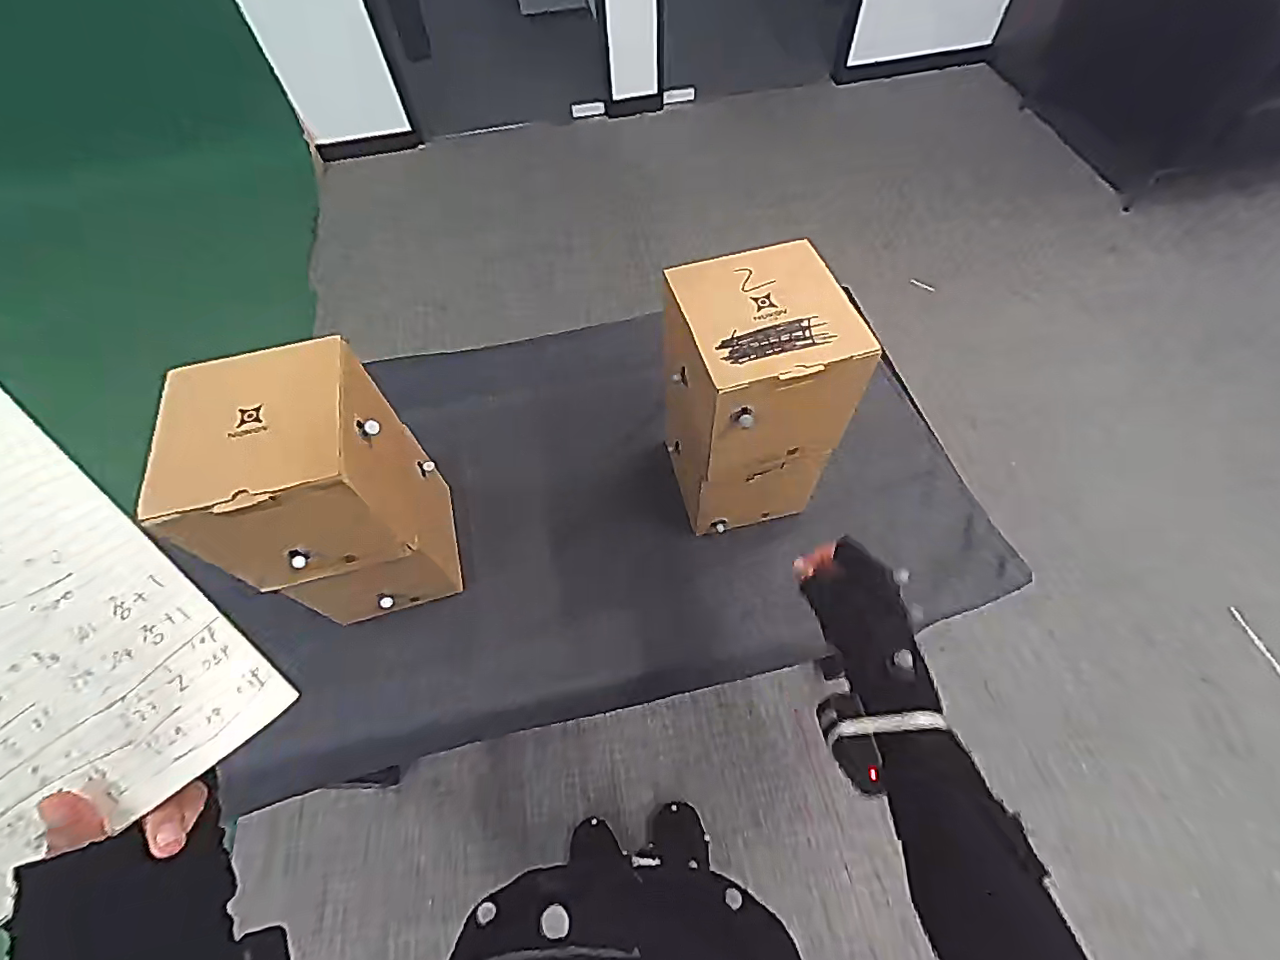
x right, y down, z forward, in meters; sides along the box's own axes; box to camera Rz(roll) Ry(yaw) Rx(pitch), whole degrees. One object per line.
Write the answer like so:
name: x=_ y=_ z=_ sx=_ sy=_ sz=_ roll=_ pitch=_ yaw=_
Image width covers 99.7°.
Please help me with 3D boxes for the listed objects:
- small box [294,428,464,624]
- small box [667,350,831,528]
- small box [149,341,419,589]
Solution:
small box: x=-0.343 y=0.064 z=0.707 sx=0.168 sy=0.176 sz=0.179 roll=-16 pitch=60 yaw=-6
small box: x=0.138 y=-0.047 z=0.755 sx=0.168 sy=0.176 sz=0.179 roll=-12 pitch=59 yaw=-5
small box: x=-0.345 y=-0.011 z=0.563 sx=0.168 sy=0.176 sz=0.179 roll=-14 pitch=60 yaw=-7
